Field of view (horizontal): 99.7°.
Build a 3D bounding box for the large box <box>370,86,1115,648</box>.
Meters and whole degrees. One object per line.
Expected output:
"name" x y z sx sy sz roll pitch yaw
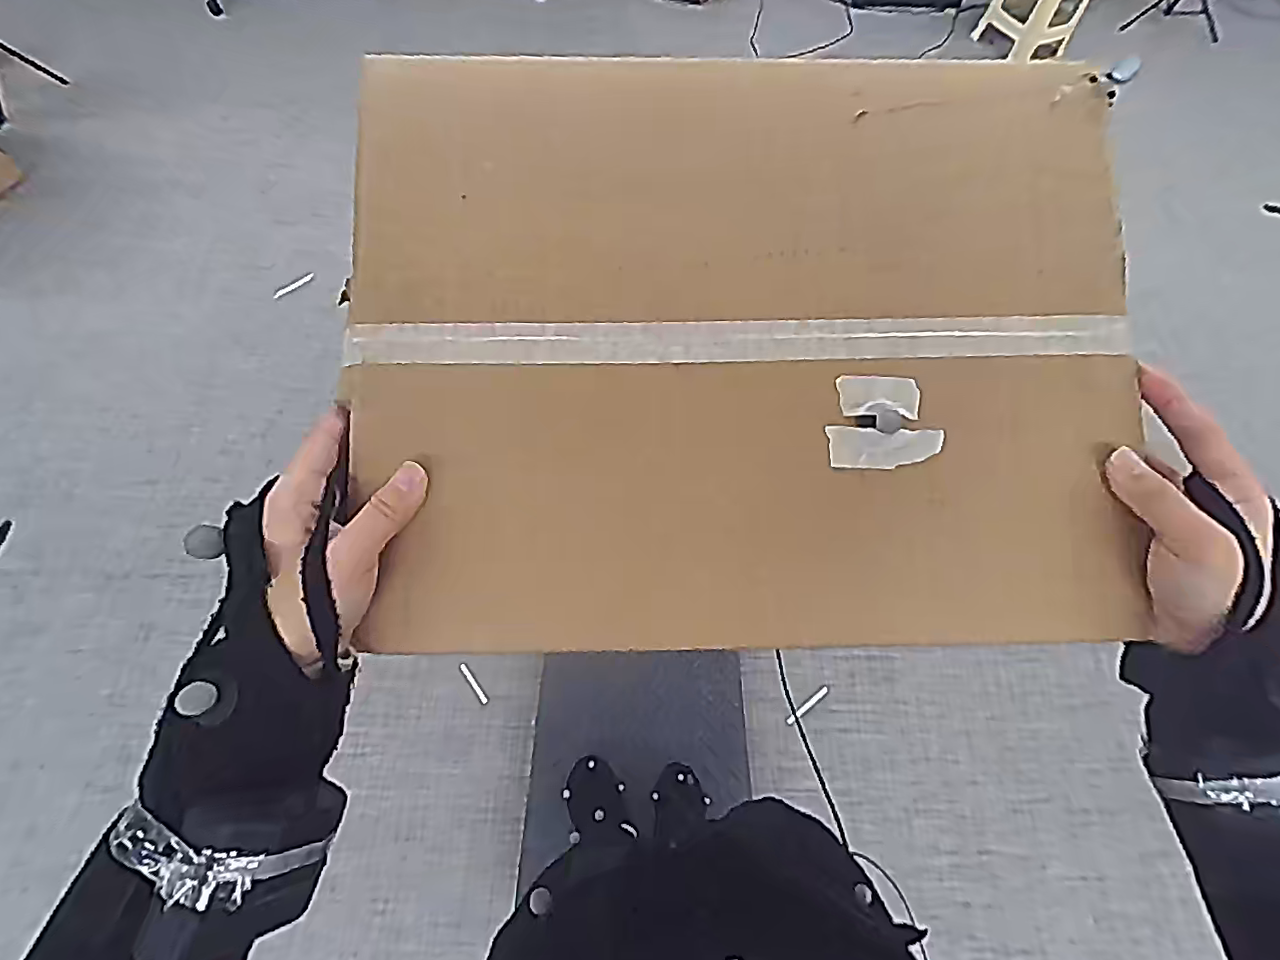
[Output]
"large box" 0.049 -0.059 0.444 0.408 0.320 0.320 -1 86 -2
